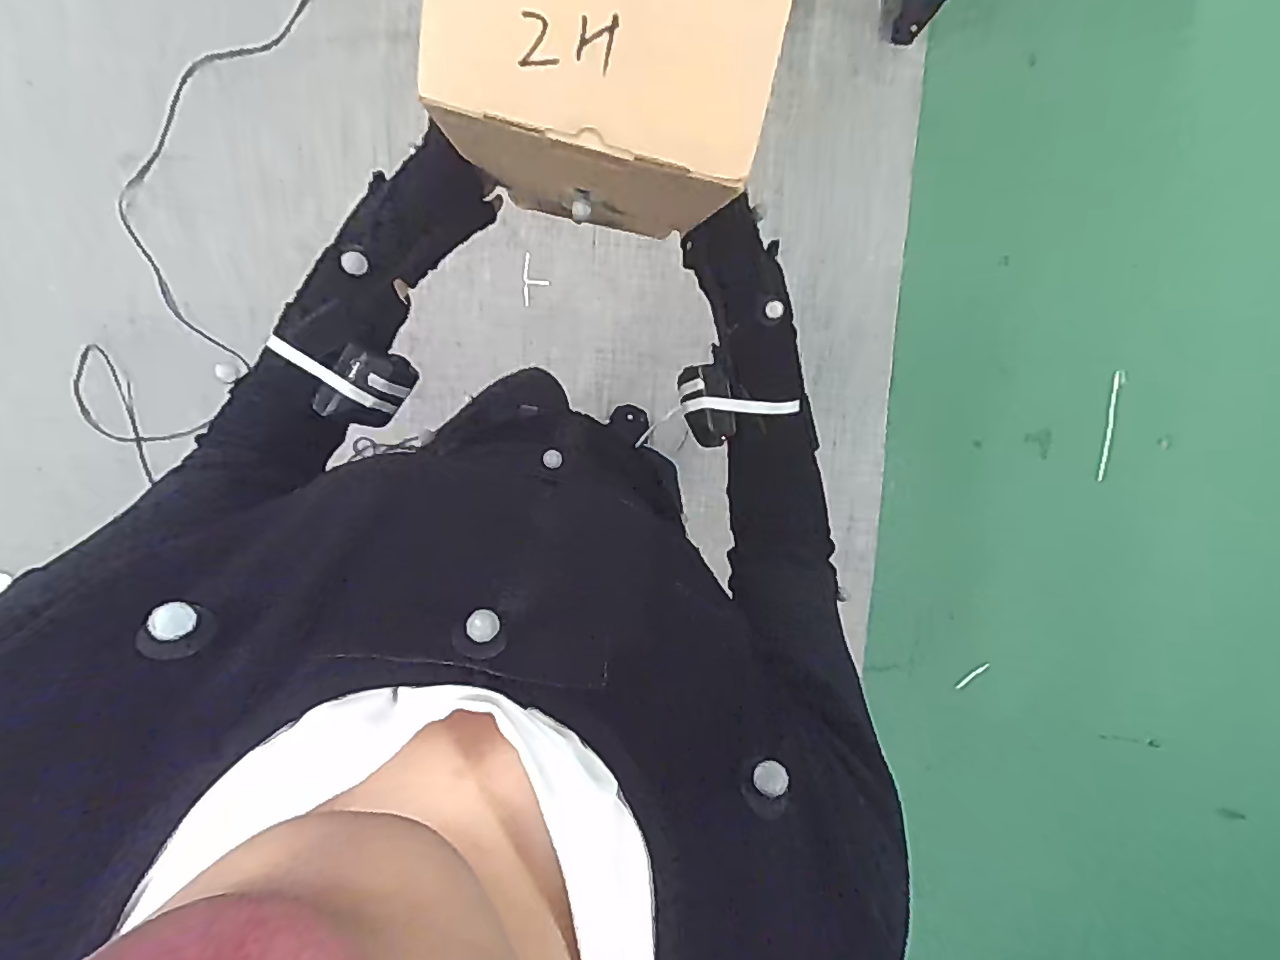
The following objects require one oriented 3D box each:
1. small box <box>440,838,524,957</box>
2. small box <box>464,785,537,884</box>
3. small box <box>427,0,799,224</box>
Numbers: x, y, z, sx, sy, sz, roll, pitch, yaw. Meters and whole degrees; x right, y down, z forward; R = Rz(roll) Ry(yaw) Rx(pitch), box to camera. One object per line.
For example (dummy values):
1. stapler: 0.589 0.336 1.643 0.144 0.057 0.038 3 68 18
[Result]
1. small box: -0.370 0.980 1.278 0.168 0.176 0.179 1 98 -5
2. small box: -0.371 0.953 1.459 0.168 0.176 0.179 -4 99 -6
3. small box: -0.012 -0.271 0.317 0.168 0.176 0.179 10 107 -9
